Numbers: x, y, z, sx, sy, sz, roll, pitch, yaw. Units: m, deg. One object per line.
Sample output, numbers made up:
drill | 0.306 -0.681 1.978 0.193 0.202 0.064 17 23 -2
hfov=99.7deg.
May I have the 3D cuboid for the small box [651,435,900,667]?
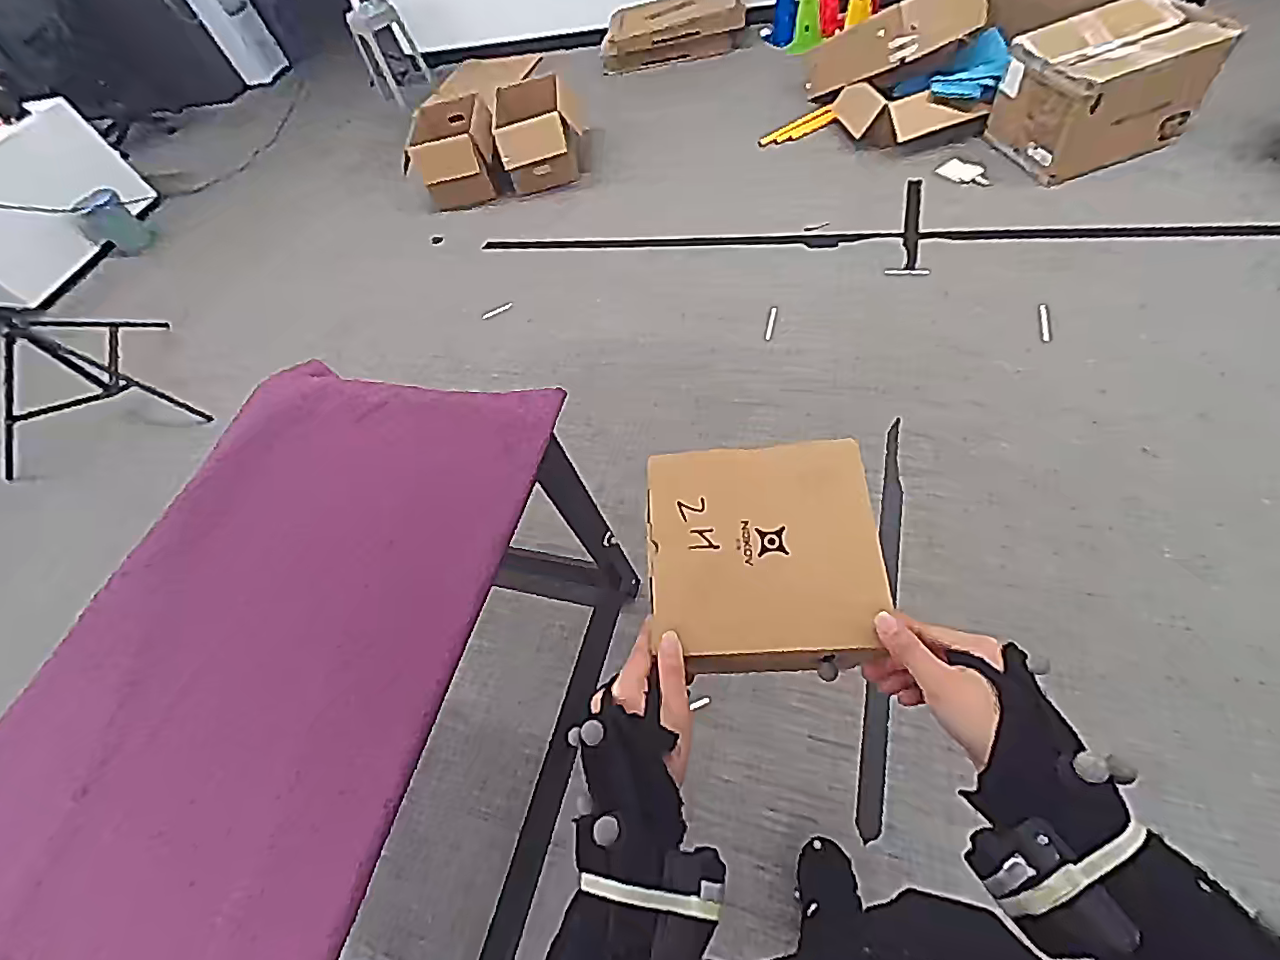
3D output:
small box | 0.107 0.075 0.490 0.179 0.176 0.168 -5 65 8
